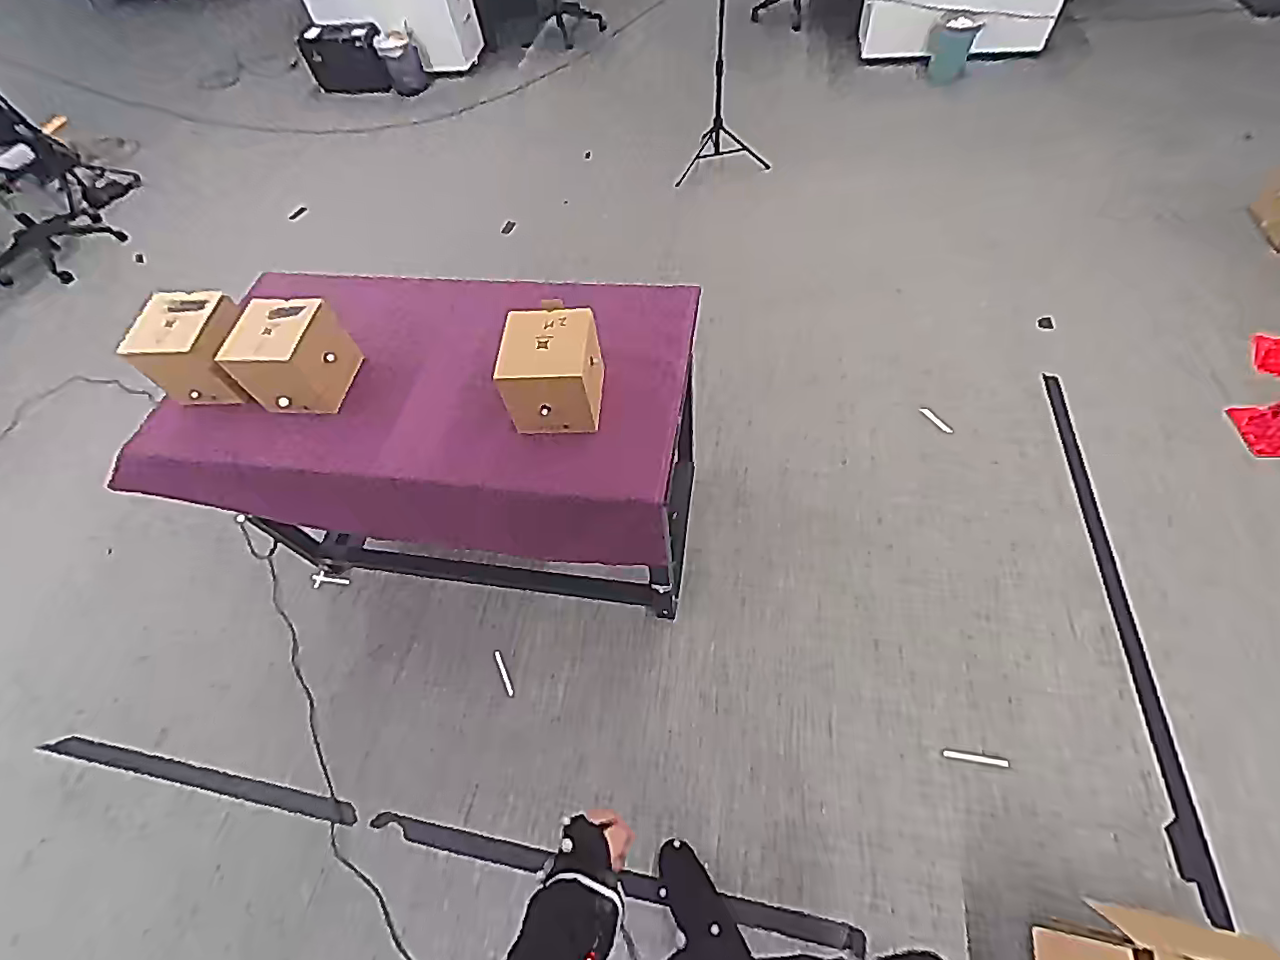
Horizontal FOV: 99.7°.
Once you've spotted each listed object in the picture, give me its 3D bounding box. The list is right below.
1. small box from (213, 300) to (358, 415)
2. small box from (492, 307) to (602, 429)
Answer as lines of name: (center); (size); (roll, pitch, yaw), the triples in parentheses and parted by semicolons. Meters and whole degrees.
small box: (-0.743, -0.262, 1.161); (0.168, 0.176, 0.179); (2, 59, 7)
small box: (-0.172, -0.214, 1.065); (0.168, 0.176, 0.179); (-1, 58, 6)
